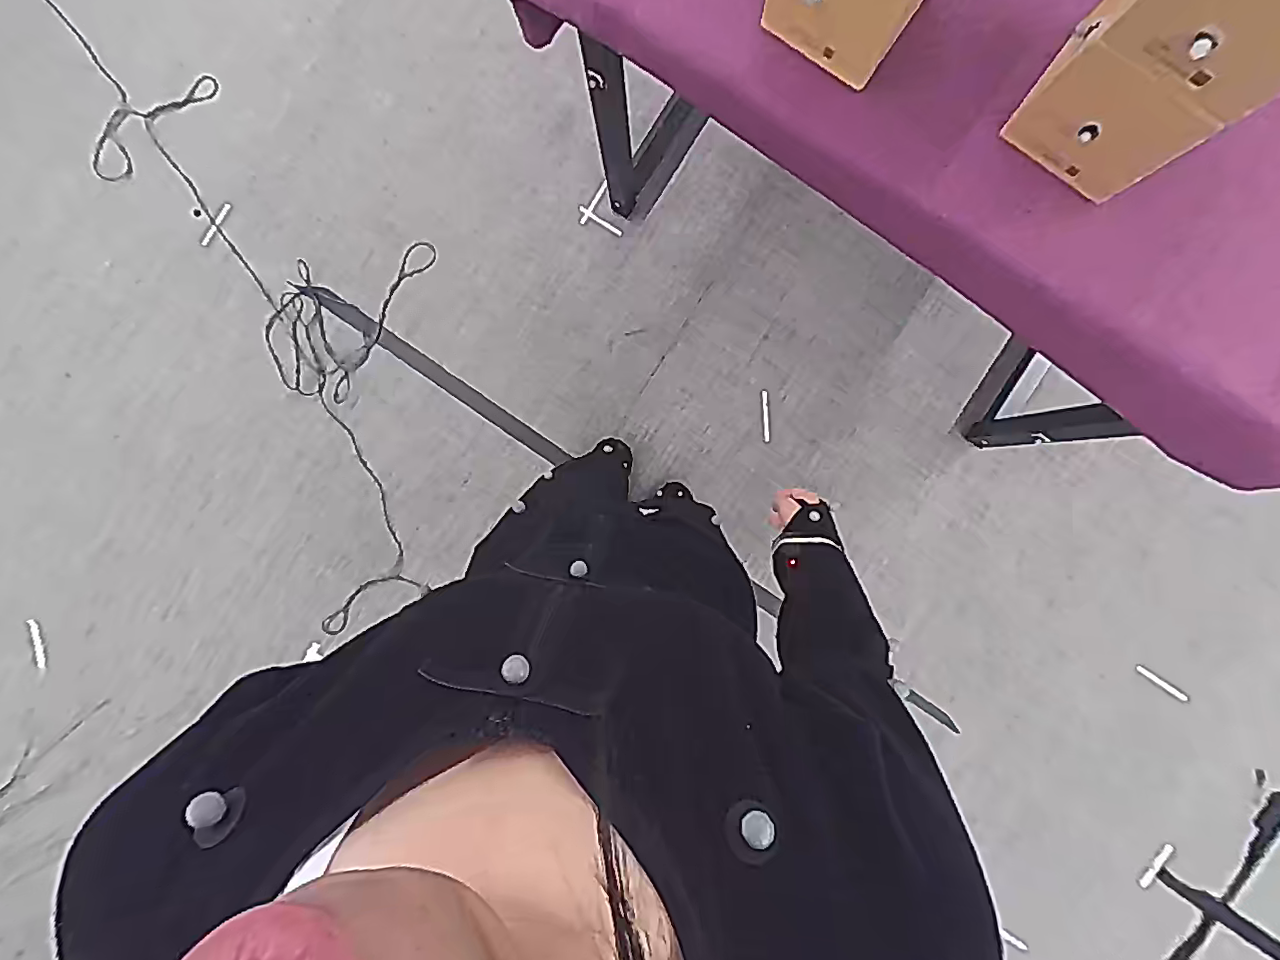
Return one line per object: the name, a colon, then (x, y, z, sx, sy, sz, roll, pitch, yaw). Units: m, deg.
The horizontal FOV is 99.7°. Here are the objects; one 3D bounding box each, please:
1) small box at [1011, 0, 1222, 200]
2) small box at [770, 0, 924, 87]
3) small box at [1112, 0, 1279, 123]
small box: (0.597, -0.483, 0.649, 0.168, 0.176, 0.179, 37, 91, 1)
small box: (0.278, -0.640, 0.658, 0.168, 0.176, 0.179, 35, 91, 1)
small box: (0.596, -0.482, 0.484, 0.168, 0.176, 0.179, 37, 92, 1)
